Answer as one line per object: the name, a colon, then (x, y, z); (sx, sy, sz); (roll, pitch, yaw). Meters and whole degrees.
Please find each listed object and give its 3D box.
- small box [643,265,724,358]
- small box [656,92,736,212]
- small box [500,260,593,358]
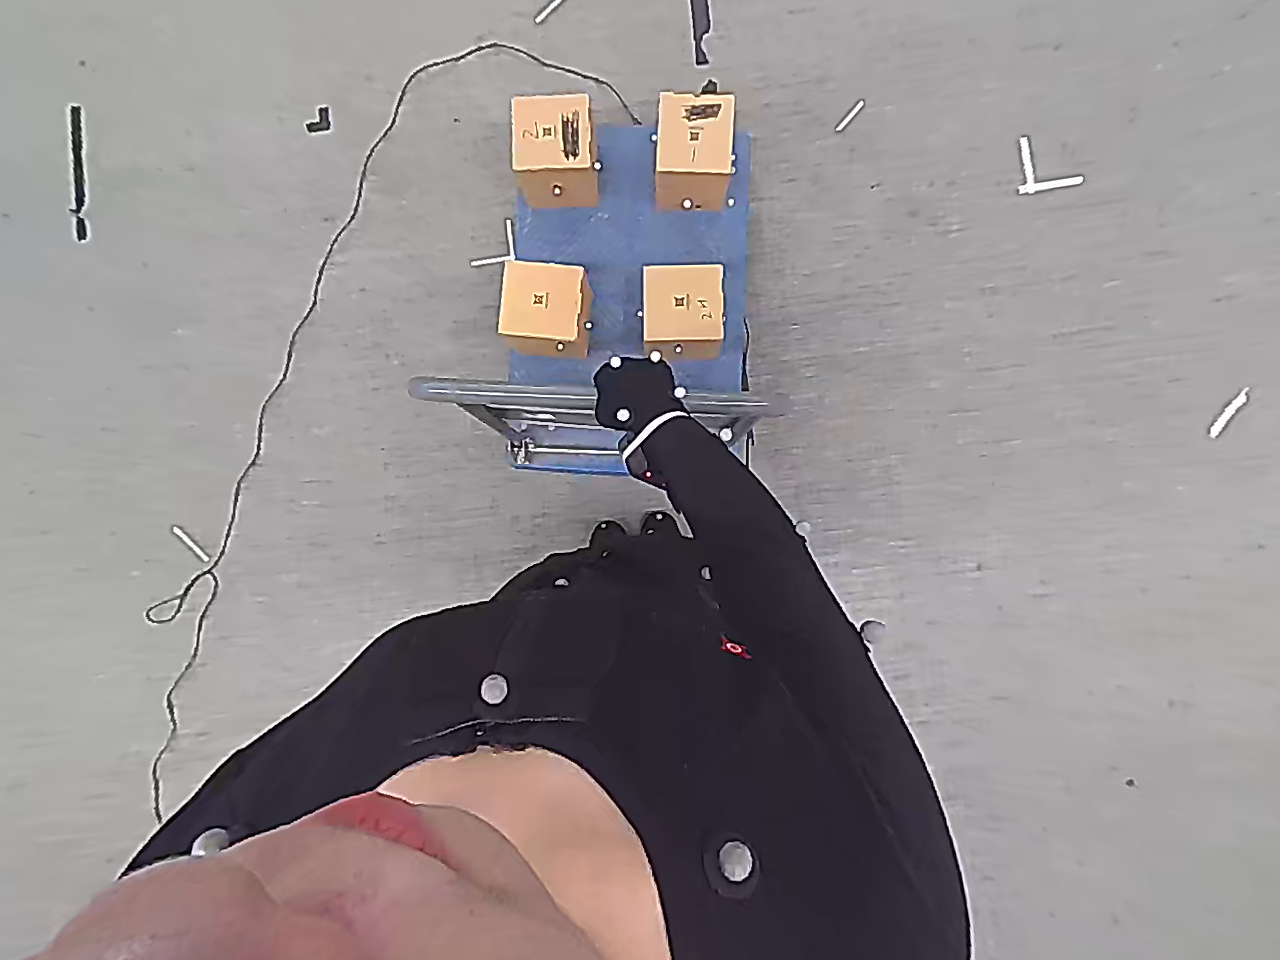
small box: (0.098, -0.382, 1.248); (0.179, 0.176, 0.168); (0, 89, 2)
small box: (0.125, -0.755, 1.255); (0.168, 0.176, 0.179); (3, 90, 2)
small box: (-0.211, -0.390, 1.257); (0.179, 0.176, 0.168); (5, 88, 0)
